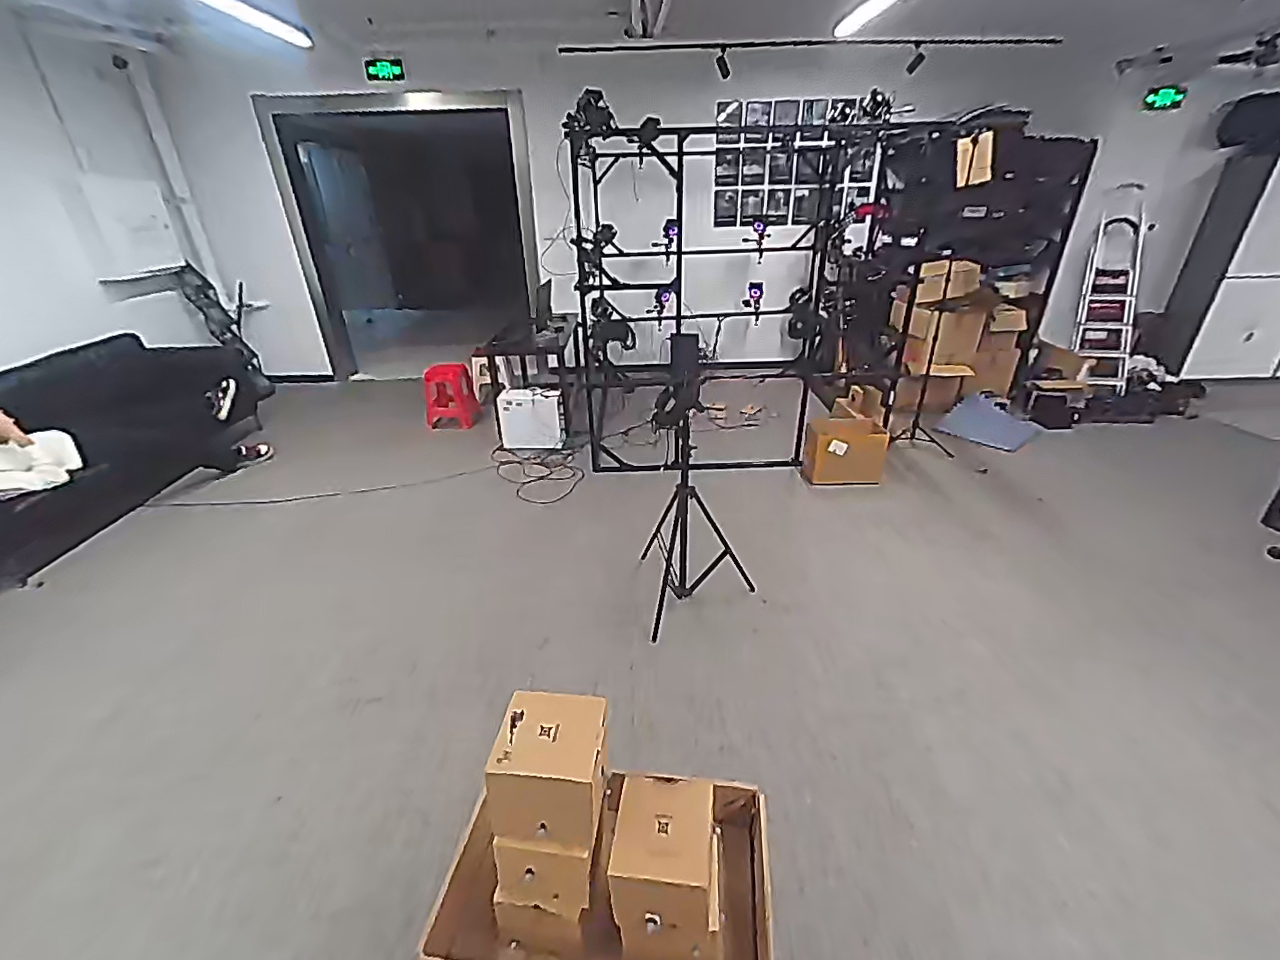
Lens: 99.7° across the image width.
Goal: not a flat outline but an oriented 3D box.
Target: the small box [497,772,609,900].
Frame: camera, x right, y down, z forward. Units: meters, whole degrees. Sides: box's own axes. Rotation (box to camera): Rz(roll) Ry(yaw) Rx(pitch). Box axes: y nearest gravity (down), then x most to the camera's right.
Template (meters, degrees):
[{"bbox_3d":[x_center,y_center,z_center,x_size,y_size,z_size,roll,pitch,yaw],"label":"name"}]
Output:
[{"bbox_3d":[-0.152,0.643,1.014,0.168,0.176,0.179,5,27,6],"label":"small box"}]

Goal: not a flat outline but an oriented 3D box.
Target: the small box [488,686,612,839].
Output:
[{"bbox_3d":[-0.147,0.493,0.948,0.179,0.176,0.168,4,27,5],"label":"small box"}]

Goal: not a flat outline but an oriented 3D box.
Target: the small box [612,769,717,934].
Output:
[{"bbox_3d":[0.050,0.658,0.968,0.168,0.176,0.179,1,27,10],"label":"small box"}]
